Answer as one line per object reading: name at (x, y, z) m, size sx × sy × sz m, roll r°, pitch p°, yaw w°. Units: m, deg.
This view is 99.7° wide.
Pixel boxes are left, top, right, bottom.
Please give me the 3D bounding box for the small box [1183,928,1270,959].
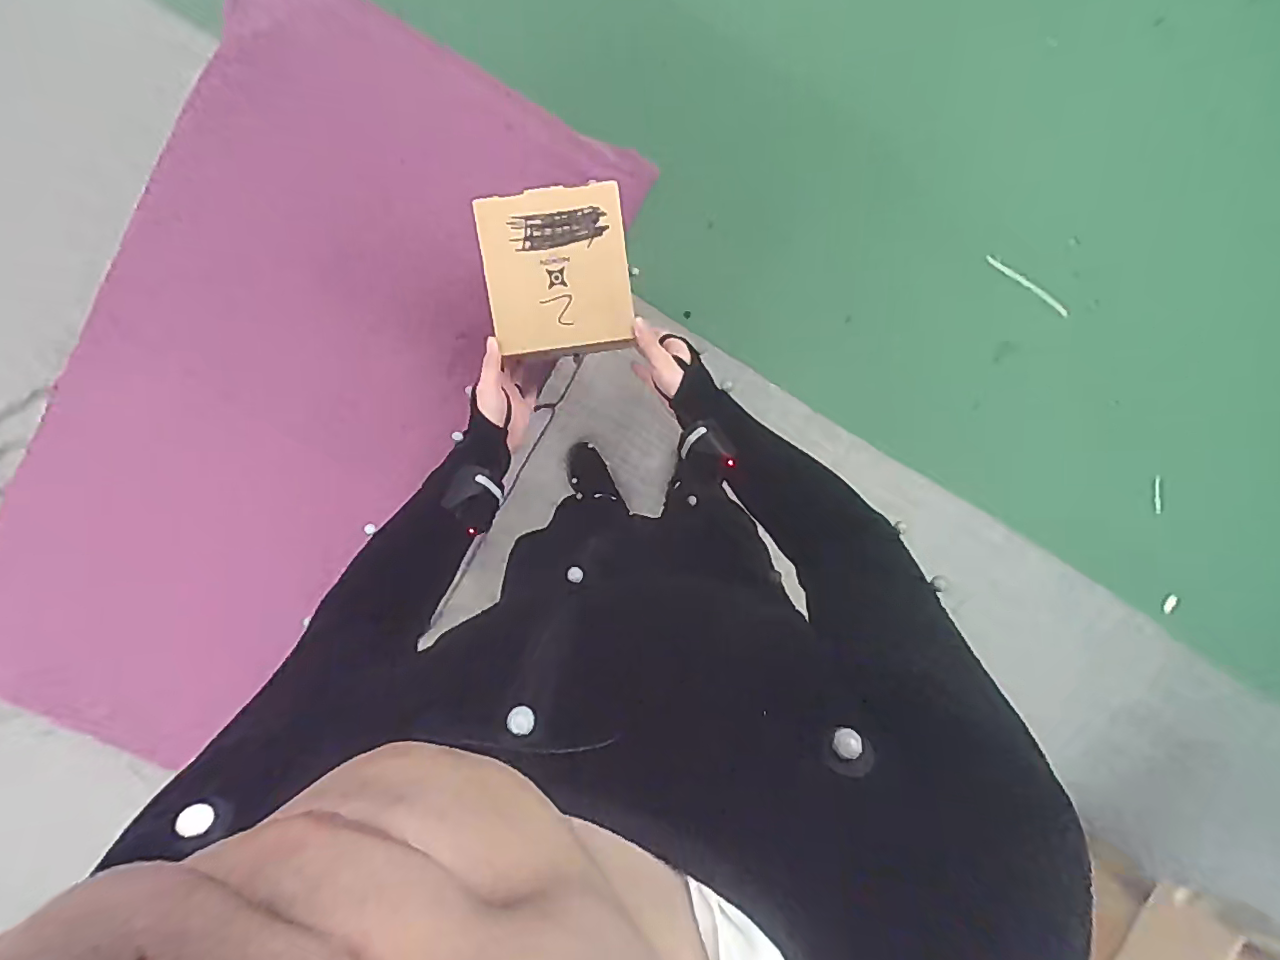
small box at (1.545, 1.298, 1.375) m, size 0.179 × 0.176 × 0.168 m, roll 23°, pitch 93°, yaw -7°
